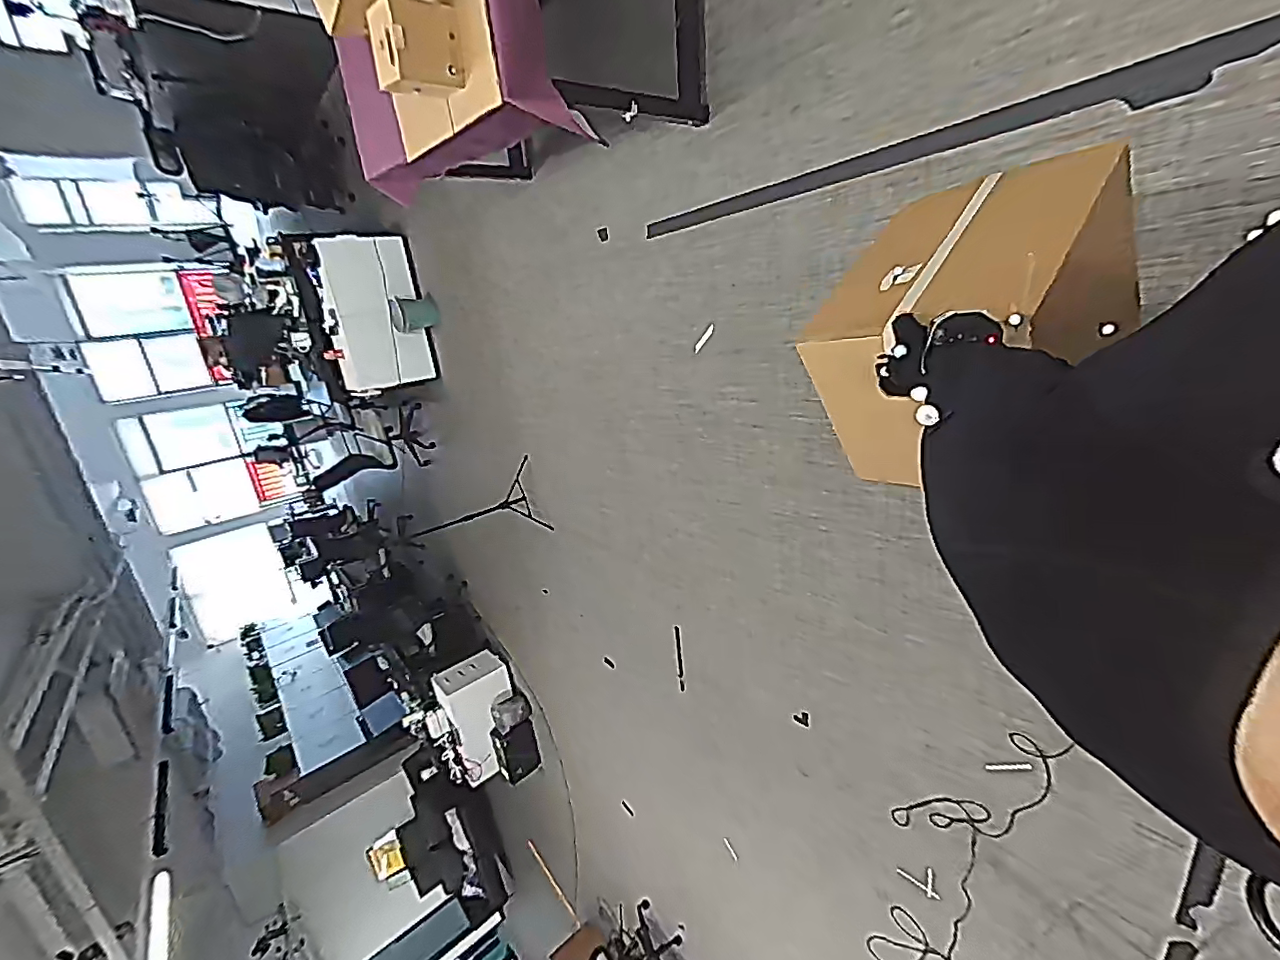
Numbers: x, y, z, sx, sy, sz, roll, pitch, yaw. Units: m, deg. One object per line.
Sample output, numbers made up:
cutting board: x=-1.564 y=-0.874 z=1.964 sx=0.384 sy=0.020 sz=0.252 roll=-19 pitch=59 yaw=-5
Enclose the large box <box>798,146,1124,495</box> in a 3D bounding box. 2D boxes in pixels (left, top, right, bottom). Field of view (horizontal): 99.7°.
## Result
large box: x=0.530 y=-0.237 z=0.873 sx=0.320 sy=0.408 sz=0.320 roll=10 pitch=146 yaw=52
